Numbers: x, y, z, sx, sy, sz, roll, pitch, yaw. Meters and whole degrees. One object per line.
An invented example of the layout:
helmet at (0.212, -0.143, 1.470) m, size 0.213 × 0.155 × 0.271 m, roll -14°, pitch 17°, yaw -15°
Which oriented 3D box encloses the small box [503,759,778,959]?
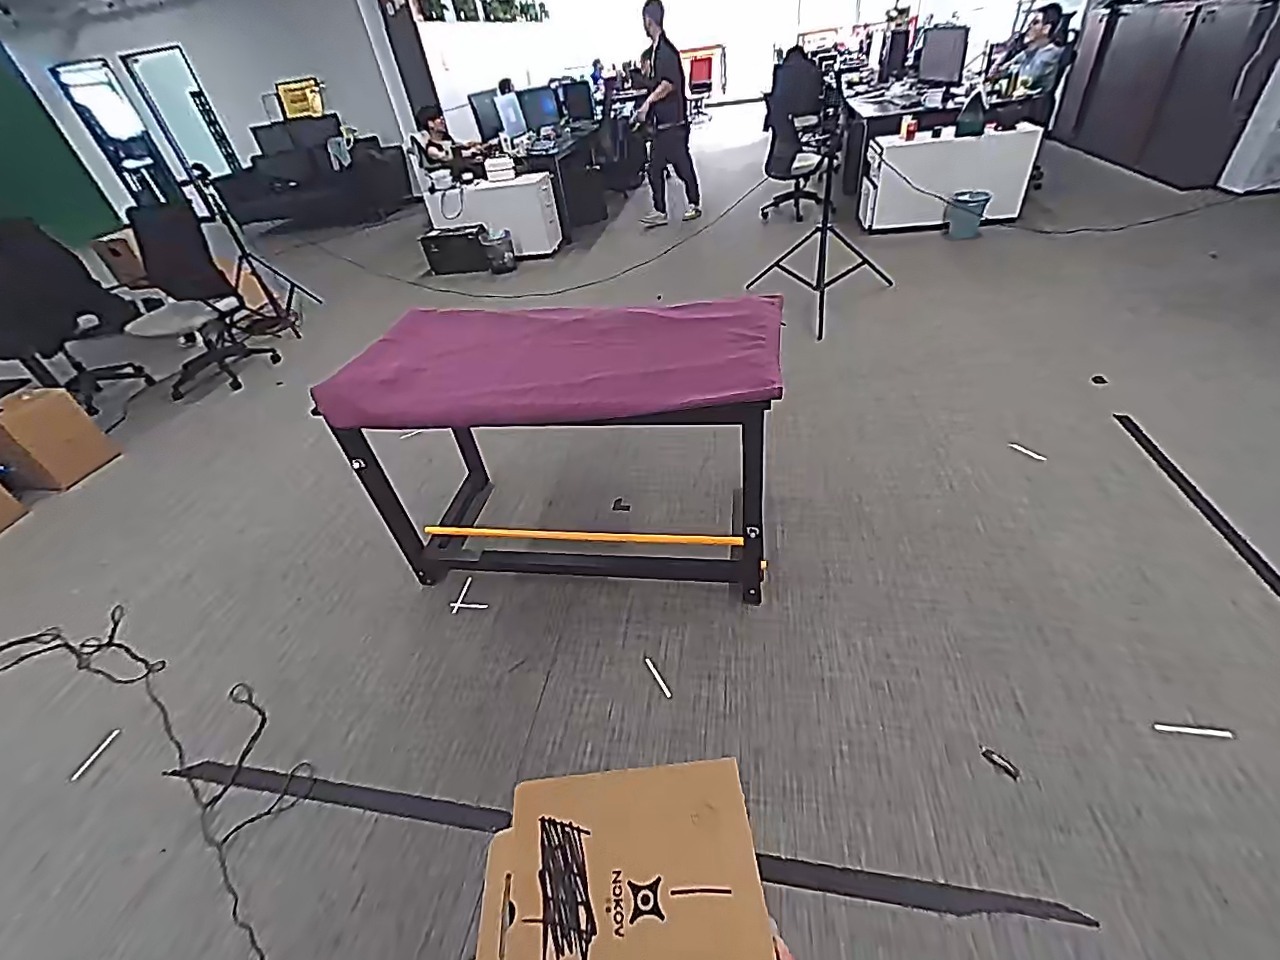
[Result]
small box at (0.003, 0.342, 0.416) m, size 0.179 × 0.176 × 0.168 m, roll -6°, pitch 42°, yaw -1°
